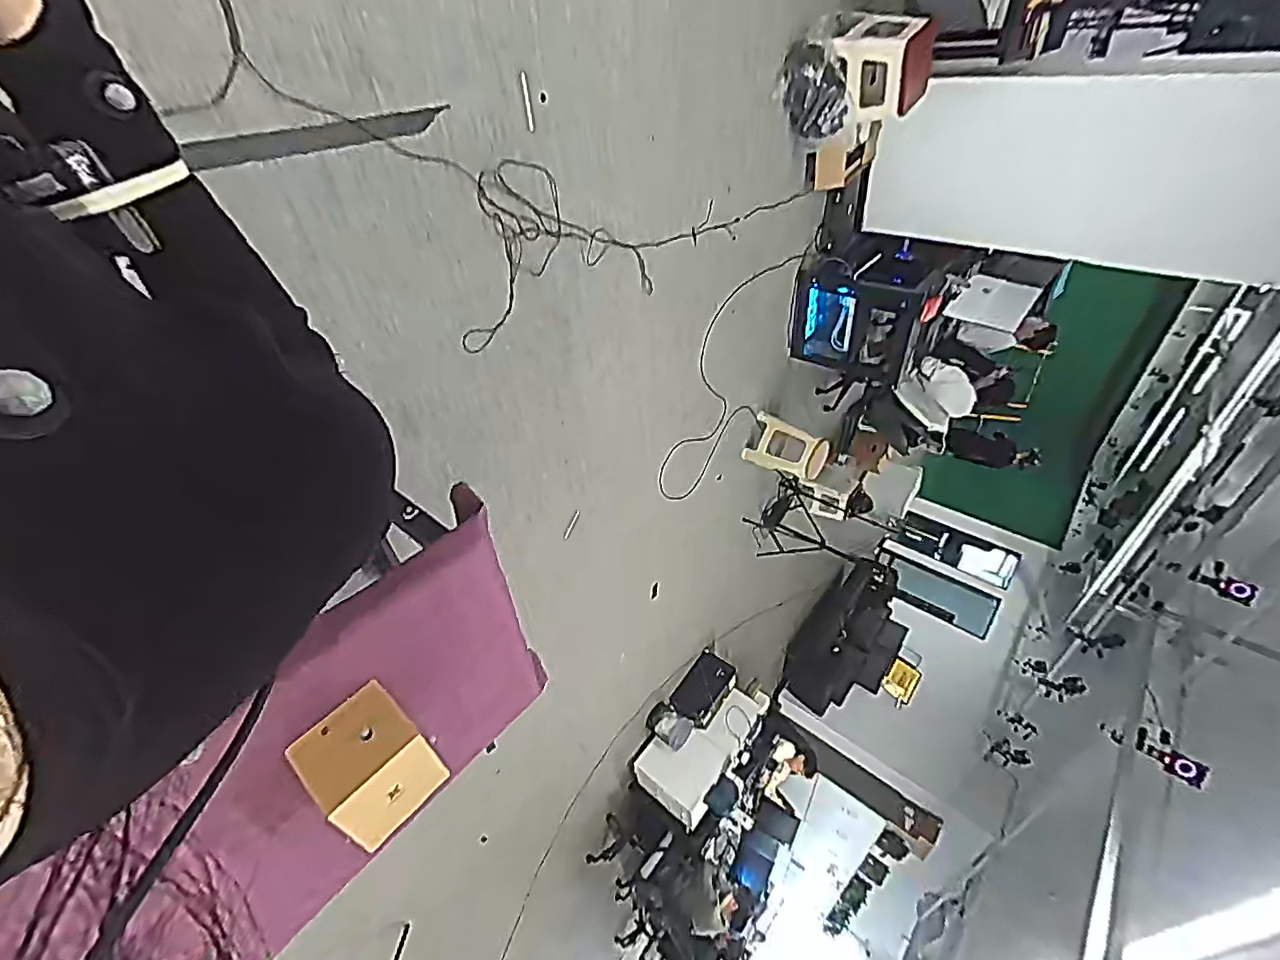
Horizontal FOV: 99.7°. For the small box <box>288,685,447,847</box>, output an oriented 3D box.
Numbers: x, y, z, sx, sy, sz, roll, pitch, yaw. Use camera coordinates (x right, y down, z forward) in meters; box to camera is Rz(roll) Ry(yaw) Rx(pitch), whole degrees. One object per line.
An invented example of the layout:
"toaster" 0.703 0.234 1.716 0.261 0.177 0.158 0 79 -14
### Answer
"small box" -0.488 0.503 0.973 0.168 0.176 0.179 -40 142 -33
